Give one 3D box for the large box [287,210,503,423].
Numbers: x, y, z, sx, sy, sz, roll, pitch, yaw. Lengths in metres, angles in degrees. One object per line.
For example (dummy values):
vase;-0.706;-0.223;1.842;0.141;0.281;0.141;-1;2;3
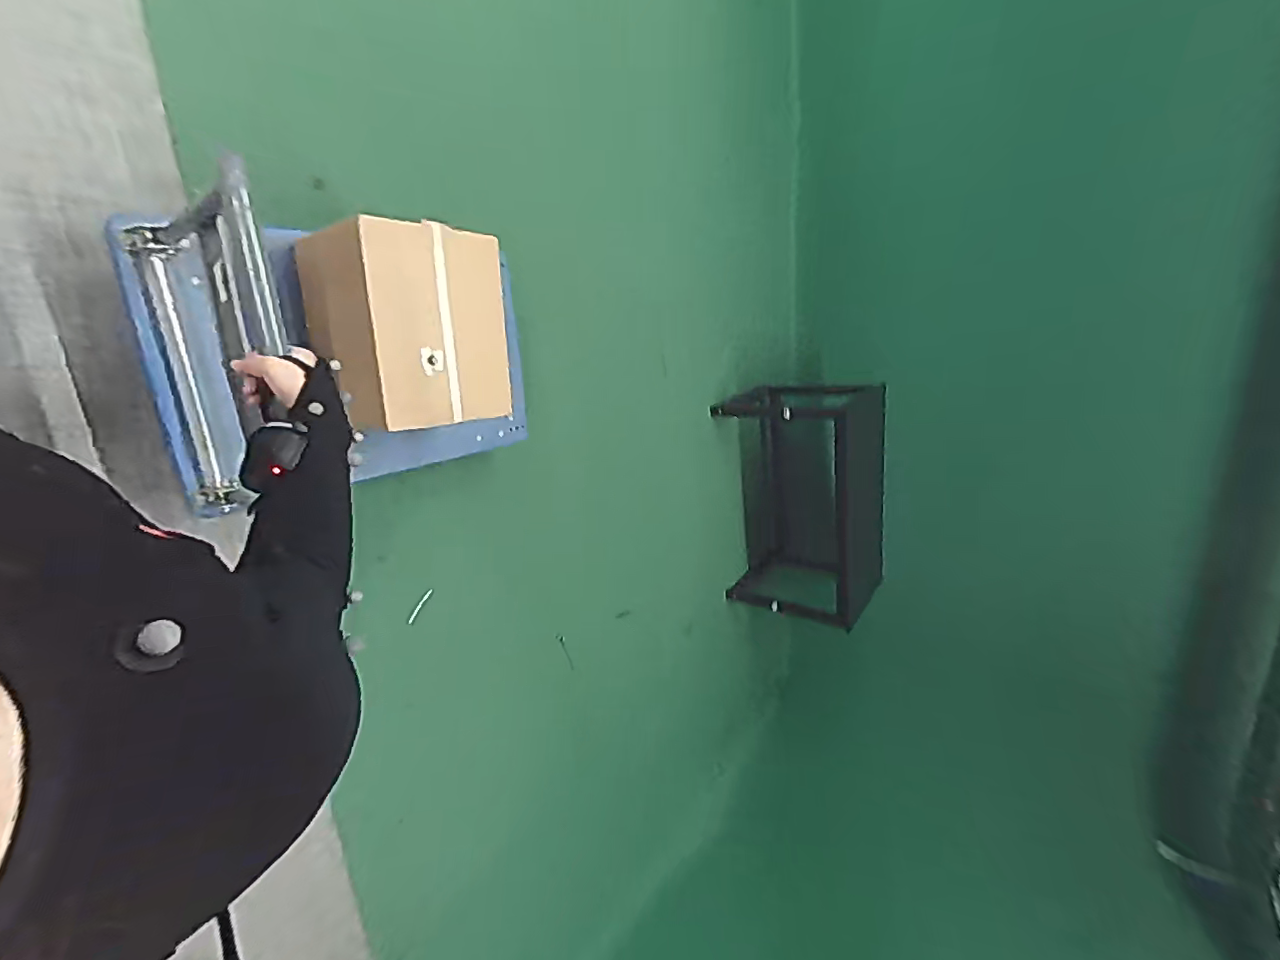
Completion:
large box;-0.549;-0.357;1.237;0.320;0.320;0.408;-18;111;-49
